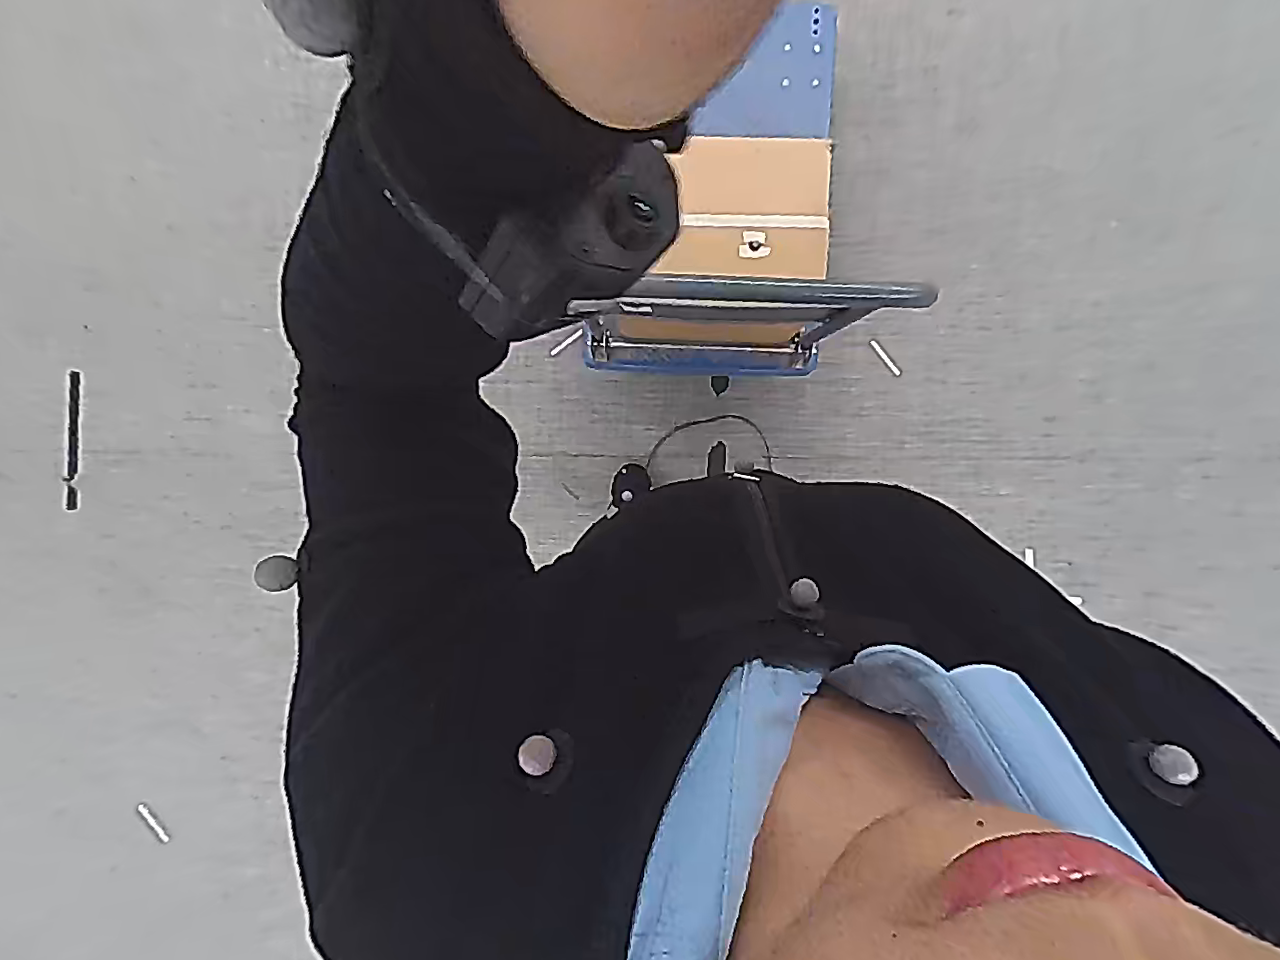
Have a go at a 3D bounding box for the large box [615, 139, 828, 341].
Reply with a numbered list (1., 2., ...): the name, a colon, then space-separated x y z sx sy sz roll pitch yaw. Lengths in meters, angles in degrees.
1. large box: 0.153 -0.492 1.174 0.408 0.320 0.320 2 92 0
